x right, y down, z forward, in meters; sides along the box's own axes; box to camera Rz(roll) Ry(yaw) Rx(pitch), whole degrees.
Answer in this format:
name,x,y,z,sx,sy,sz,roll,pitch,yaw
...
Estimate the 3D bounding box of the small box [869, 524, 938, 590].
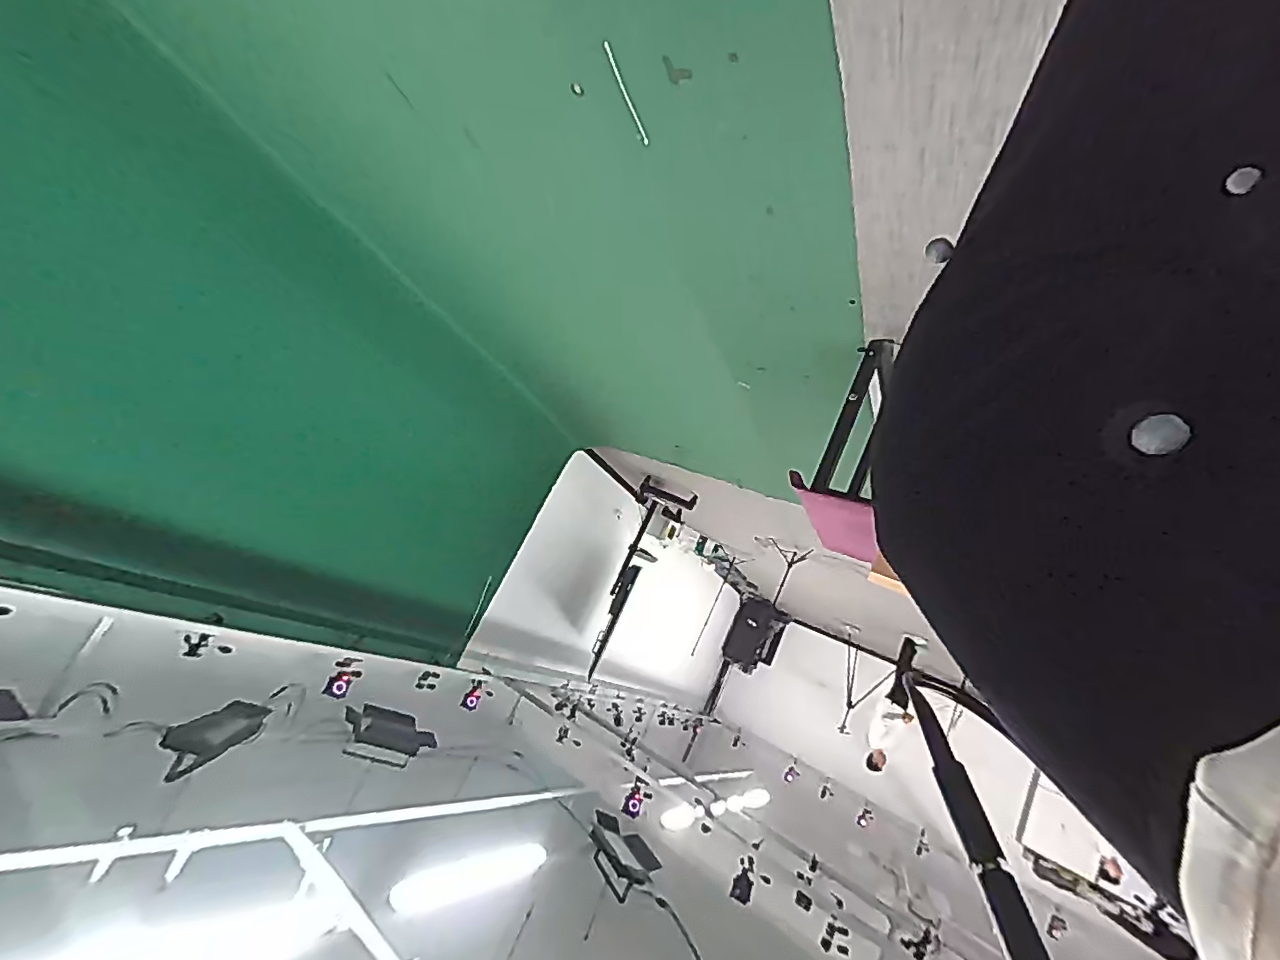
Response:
name,x,y,z,sx,sy,sz,roll,pitch,yaw
small box,0.947,0.275,1.942,0.179,0.176,0.168,20,167,23
